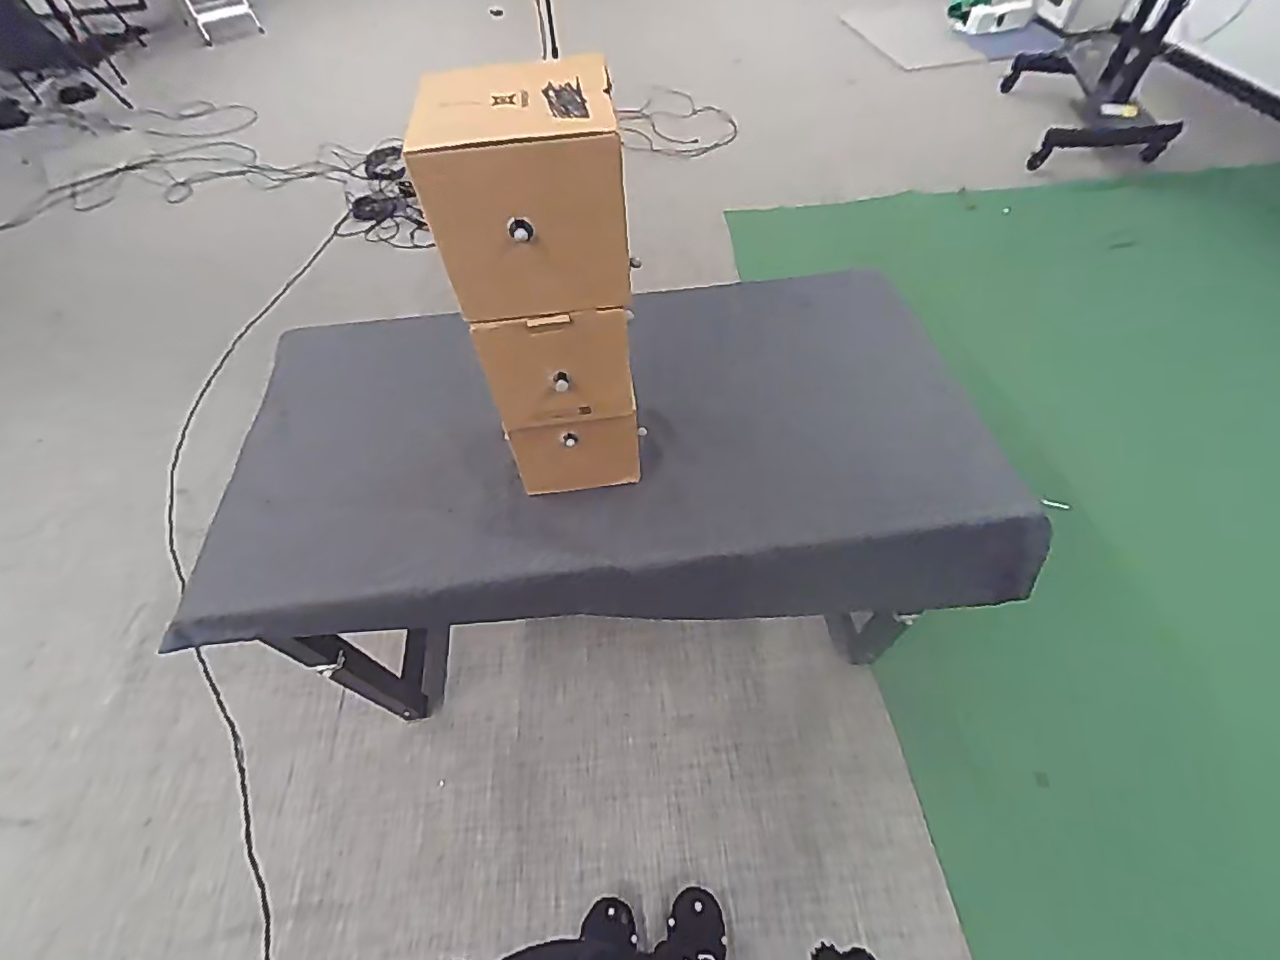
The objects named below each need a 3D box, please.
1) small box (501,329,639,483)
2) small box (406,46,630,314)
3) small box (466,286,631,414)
[{"bbox_3d":[-0.098,-0.109,0.805,0.179,0.176,0.168,-6,56,-3],"label":"small box"},{"bbox_3d":[-0.105,-0.286,0.529,0.179,0.176,0.168,-8,56,-4],"label":"small box"},{"bbox_3d":[-0.104,-0.196,0.667,0.168,0.176,0.179,-7,57,-2],"label":"small box"}]
